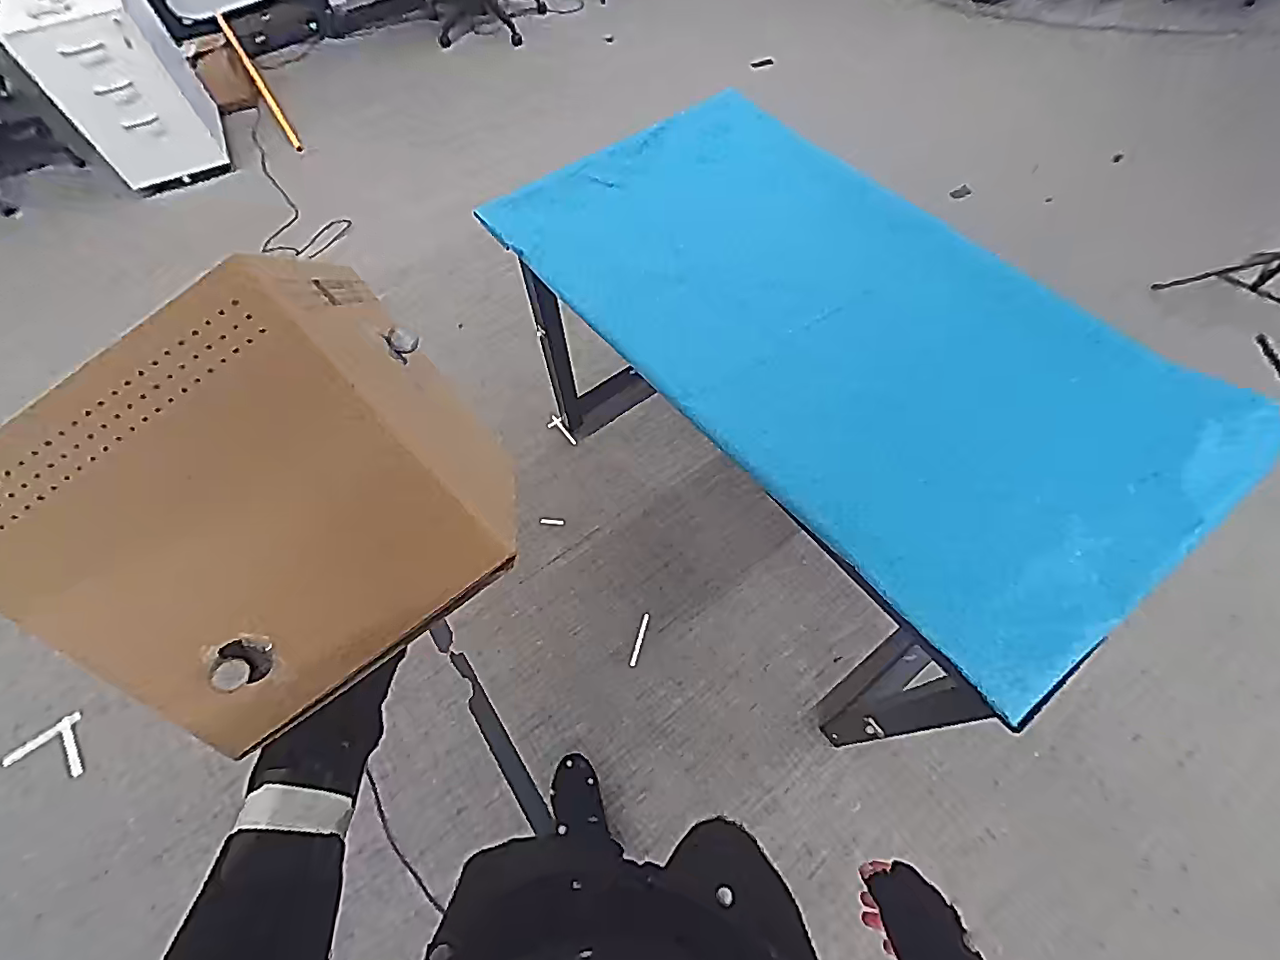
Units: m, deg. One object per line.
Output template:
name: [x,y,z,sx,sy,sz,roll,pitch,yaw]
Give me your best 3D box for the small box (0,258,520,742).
small box: [-0.193,-0.001,0.315,0.179,0.176,0.168,-36,24,0]
